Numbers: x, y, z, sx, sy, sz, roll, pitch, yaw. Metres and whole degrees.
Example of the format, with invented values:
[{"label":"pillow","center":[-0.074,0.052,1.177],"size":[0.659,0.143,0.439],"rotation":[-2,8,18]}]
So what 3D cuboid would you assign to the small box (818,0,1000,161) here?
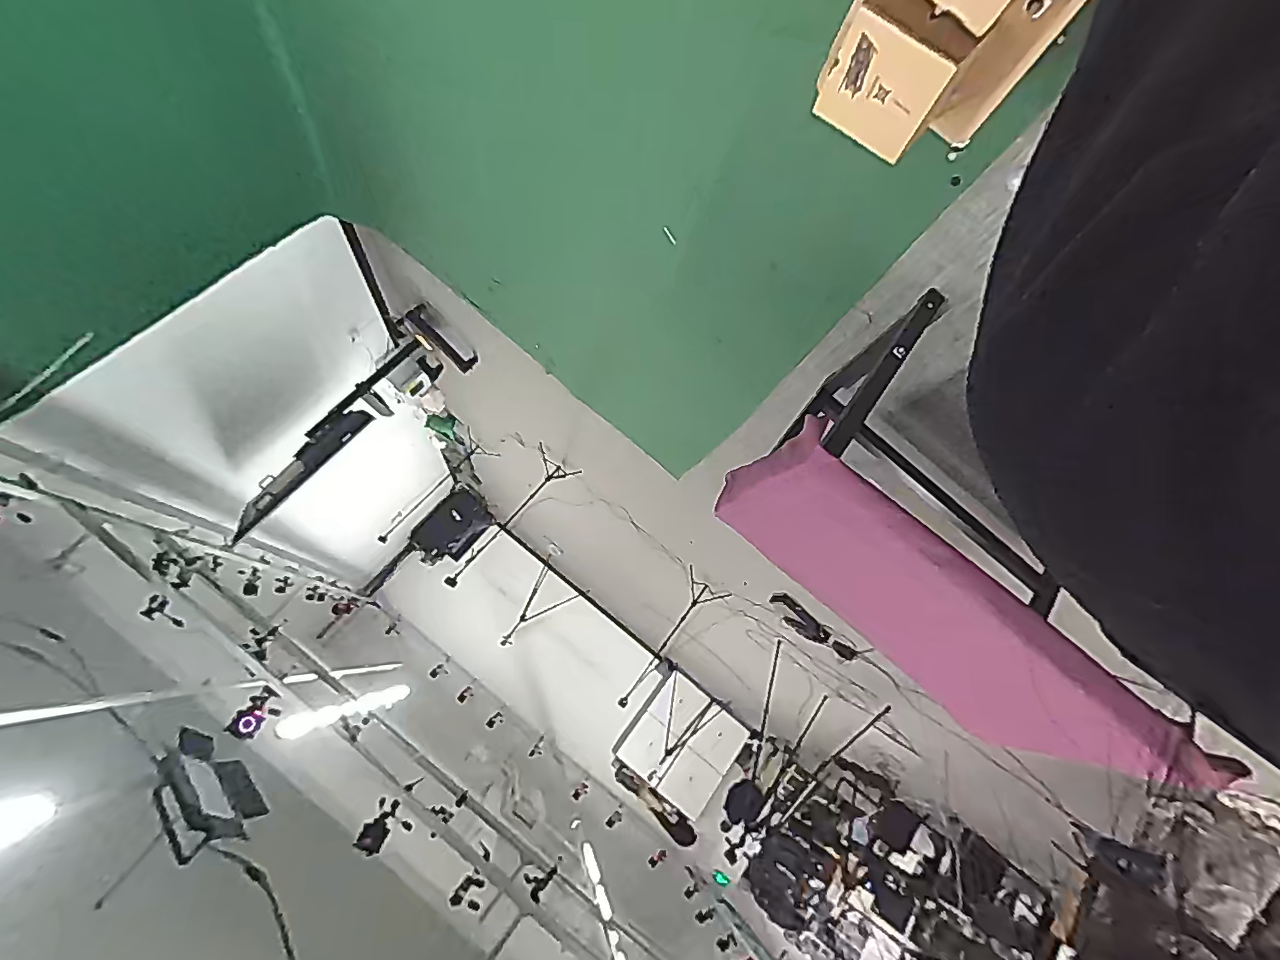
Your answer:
[{"label":"small box","center":[0.438,-0.684,0.892],"size":[0.179,0.176,0.168],"rotation":[39,159,6]}]

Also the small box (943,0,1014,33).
[{"label":"small box","center":[0.482,-0.745,0.693],"size":[0.168,0.176,0.179],"rotation":[41,159,-1]}]
